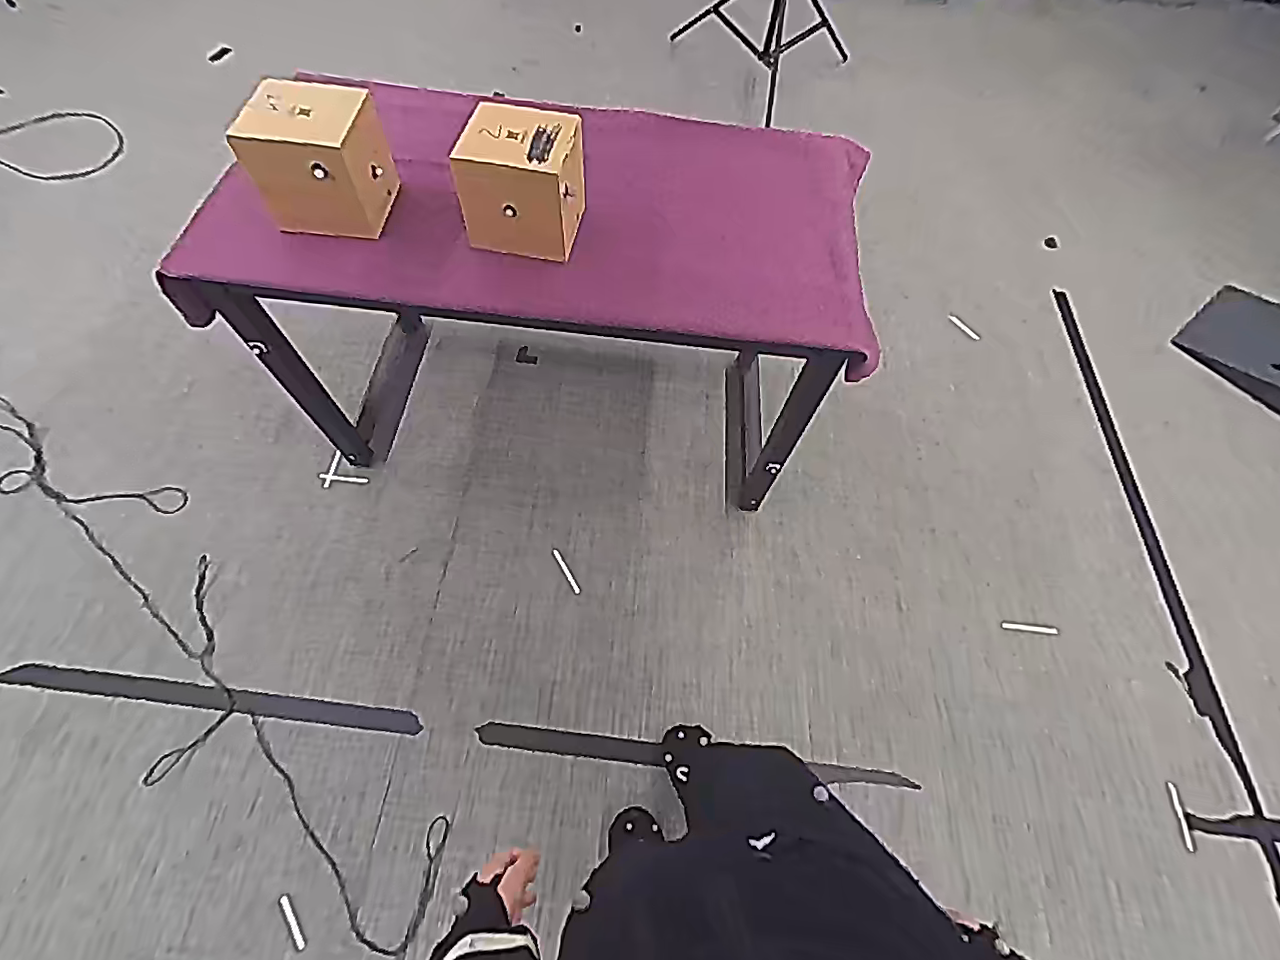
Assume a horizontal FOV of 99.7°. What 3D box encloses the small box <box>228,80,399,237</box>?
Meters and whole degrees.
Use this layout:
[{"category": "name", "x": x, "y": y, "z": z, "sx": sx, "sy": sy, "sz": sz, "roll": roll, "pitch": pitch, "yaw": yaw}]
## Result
[{"category": "small box", "x": -0.542, "y": -0.546, "z": 0.931, "sx": 0.179, "sy": 0.176, "sz": 0.168, "roll": 4, "pitch": 61, "yaw": -2}]
